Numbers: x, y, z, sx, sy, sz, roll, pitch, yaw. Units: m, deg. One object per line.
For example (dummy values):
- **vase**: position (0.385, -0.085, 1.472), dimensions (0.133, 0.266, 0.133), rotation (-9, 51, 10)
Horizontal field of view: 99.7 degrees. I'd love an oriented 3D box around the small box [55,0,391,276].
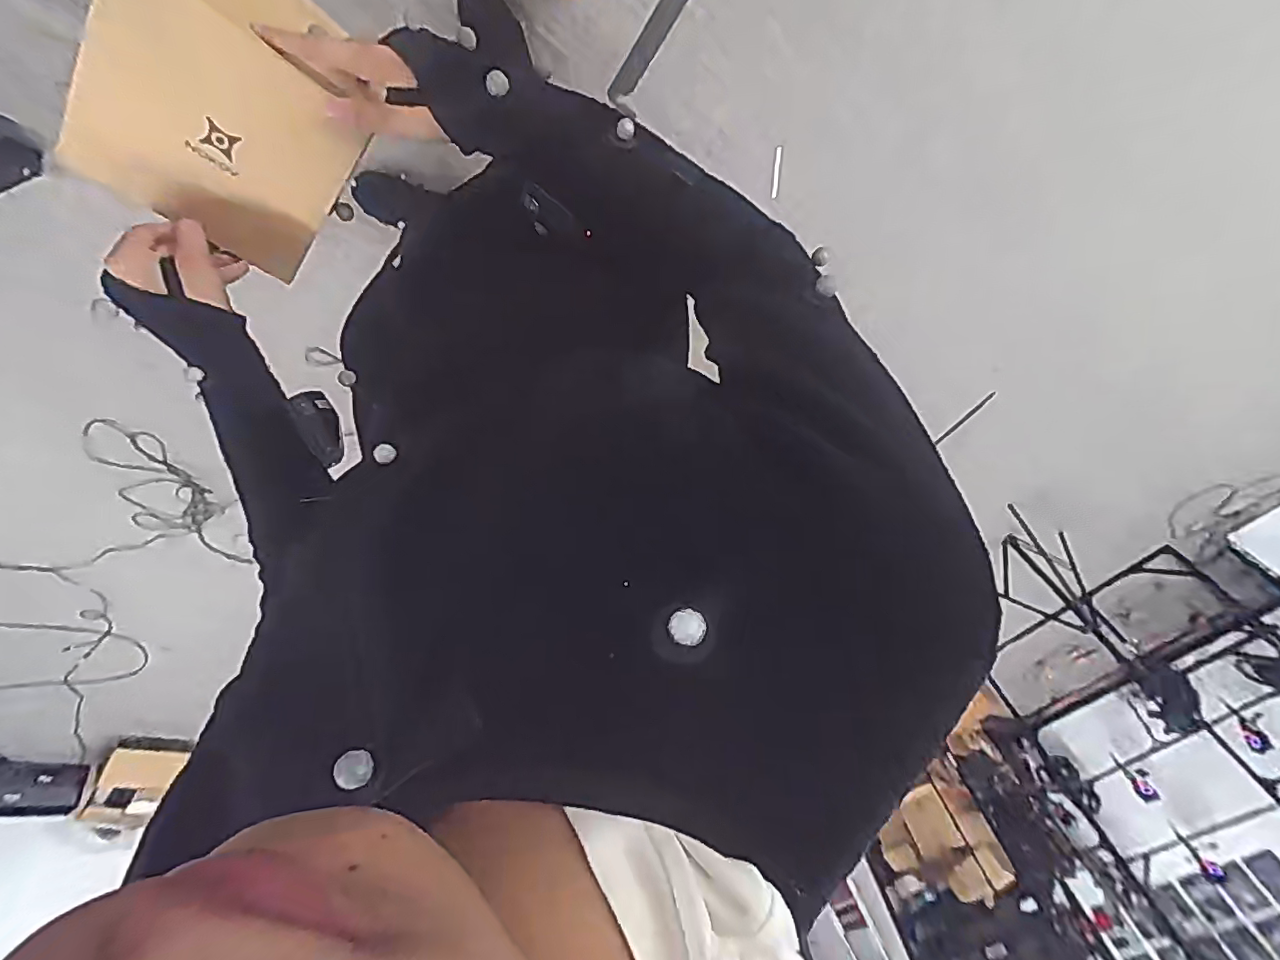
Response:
- **small box**: position (-0.336, -0.326, 0.466), dimensions (0.179, 0.176, 0.168), rotation (-37, 134, 28)
